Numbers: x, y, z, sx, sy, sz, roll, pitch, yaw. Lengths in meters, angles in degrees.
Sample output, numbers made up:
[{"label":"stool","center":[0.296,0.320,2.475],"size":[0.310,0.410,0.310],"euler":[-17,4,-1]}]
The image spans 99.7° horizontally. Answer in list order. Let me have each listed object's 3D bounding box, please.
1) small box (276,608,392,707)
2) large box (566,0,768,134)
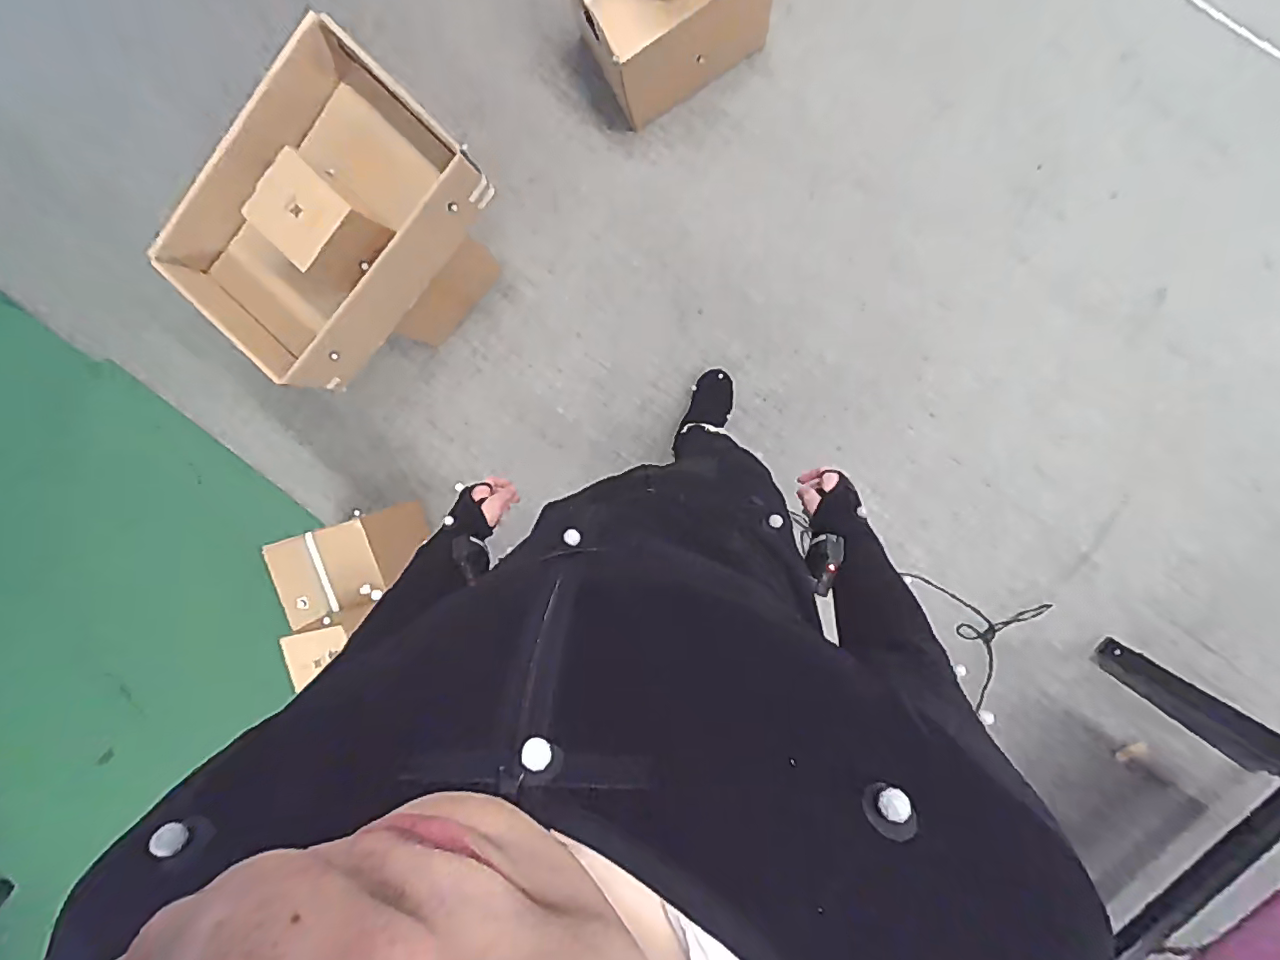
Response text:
[{"label":"small box","center":[-0.750,0.434,1.350],"size":[0.179,0.176,0.168],"euler":[-14,94,8]},{"label":"large box","center":[0.061,-1.161,1.314],"size":[0.408,0.320,0.320],"euler":[-30,92,10]}]
